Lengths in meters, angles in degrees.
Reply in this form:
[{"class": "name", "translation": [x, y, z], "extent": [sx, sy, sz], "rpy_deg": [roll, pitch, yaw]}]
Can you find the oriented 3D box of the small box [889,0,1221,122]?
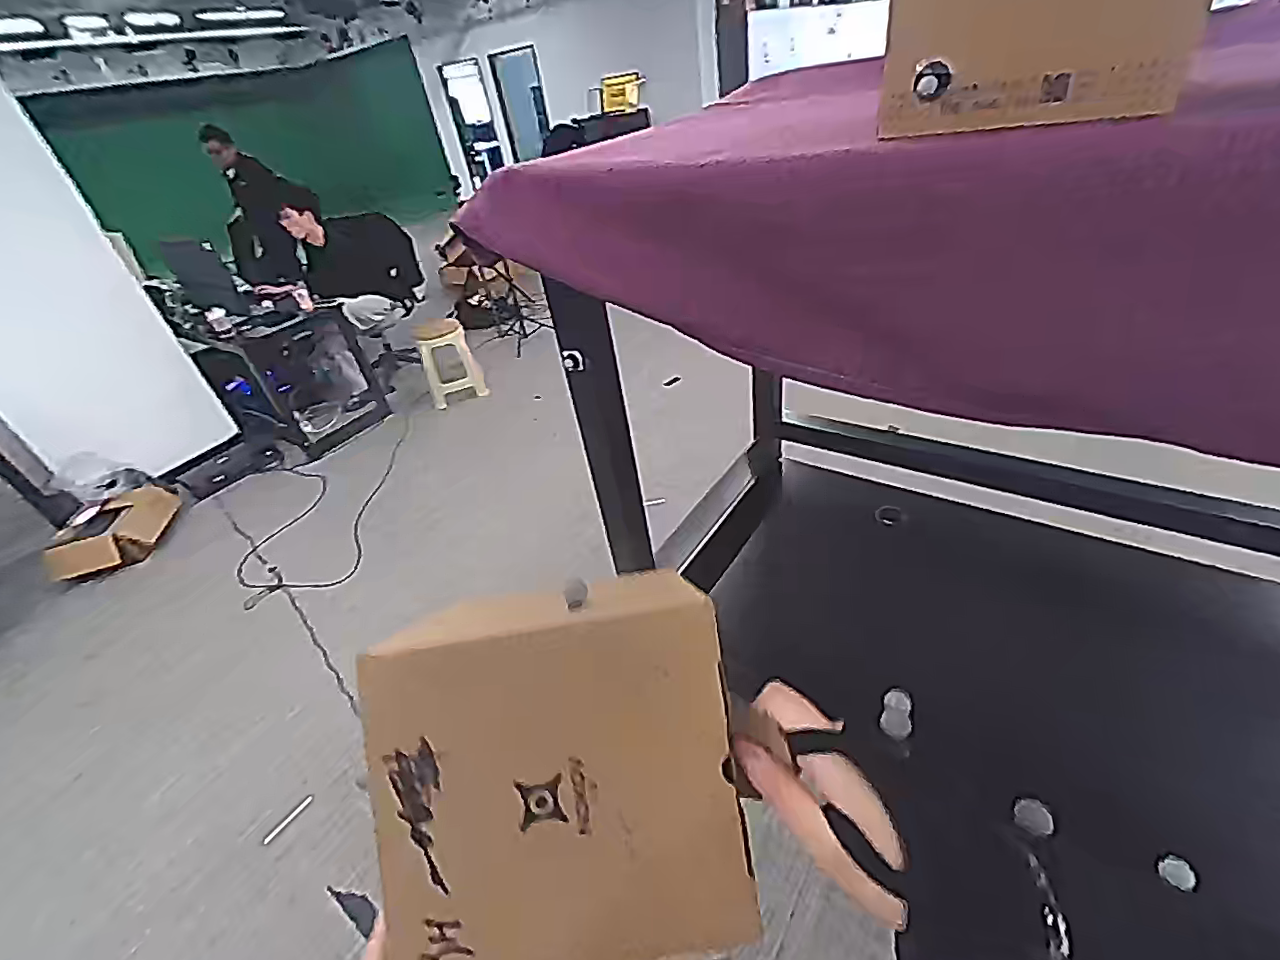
[{"class": "small box", "translation": [0.270, -0.342, 0.346], "extent": [0.168, 0.176, 0.179], "rpy_deg": [16, 43, 31]}]
